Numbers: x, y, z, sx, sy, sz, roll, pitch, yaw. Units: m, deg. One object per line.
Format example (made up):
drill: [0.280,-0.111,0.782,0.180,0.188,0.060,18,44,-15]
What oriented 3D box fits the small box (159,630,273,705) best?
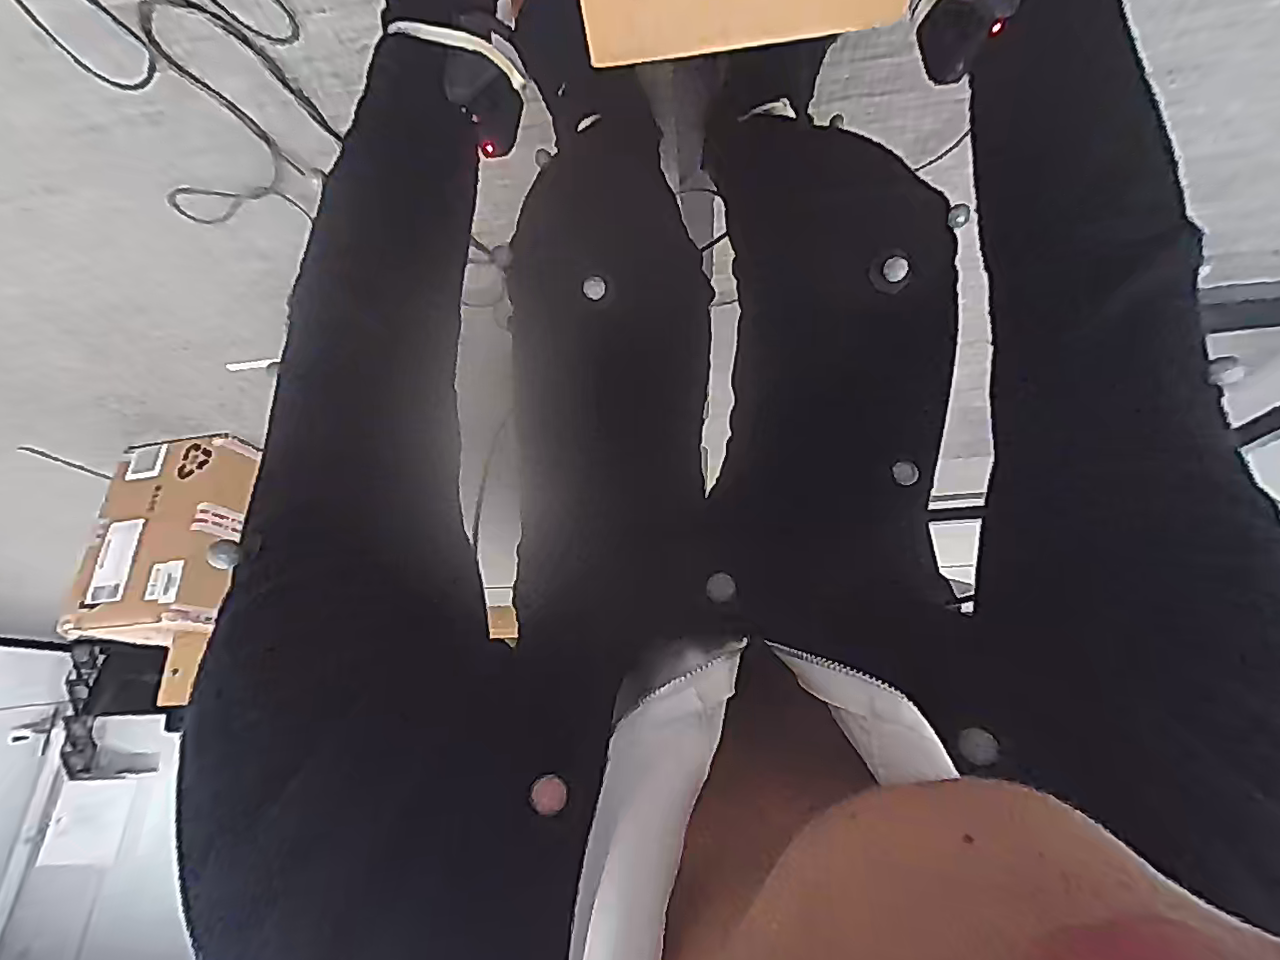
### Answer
small box: [-1.132,0.509,1.460,0.179,0.176,0.168,-13,157,15]
